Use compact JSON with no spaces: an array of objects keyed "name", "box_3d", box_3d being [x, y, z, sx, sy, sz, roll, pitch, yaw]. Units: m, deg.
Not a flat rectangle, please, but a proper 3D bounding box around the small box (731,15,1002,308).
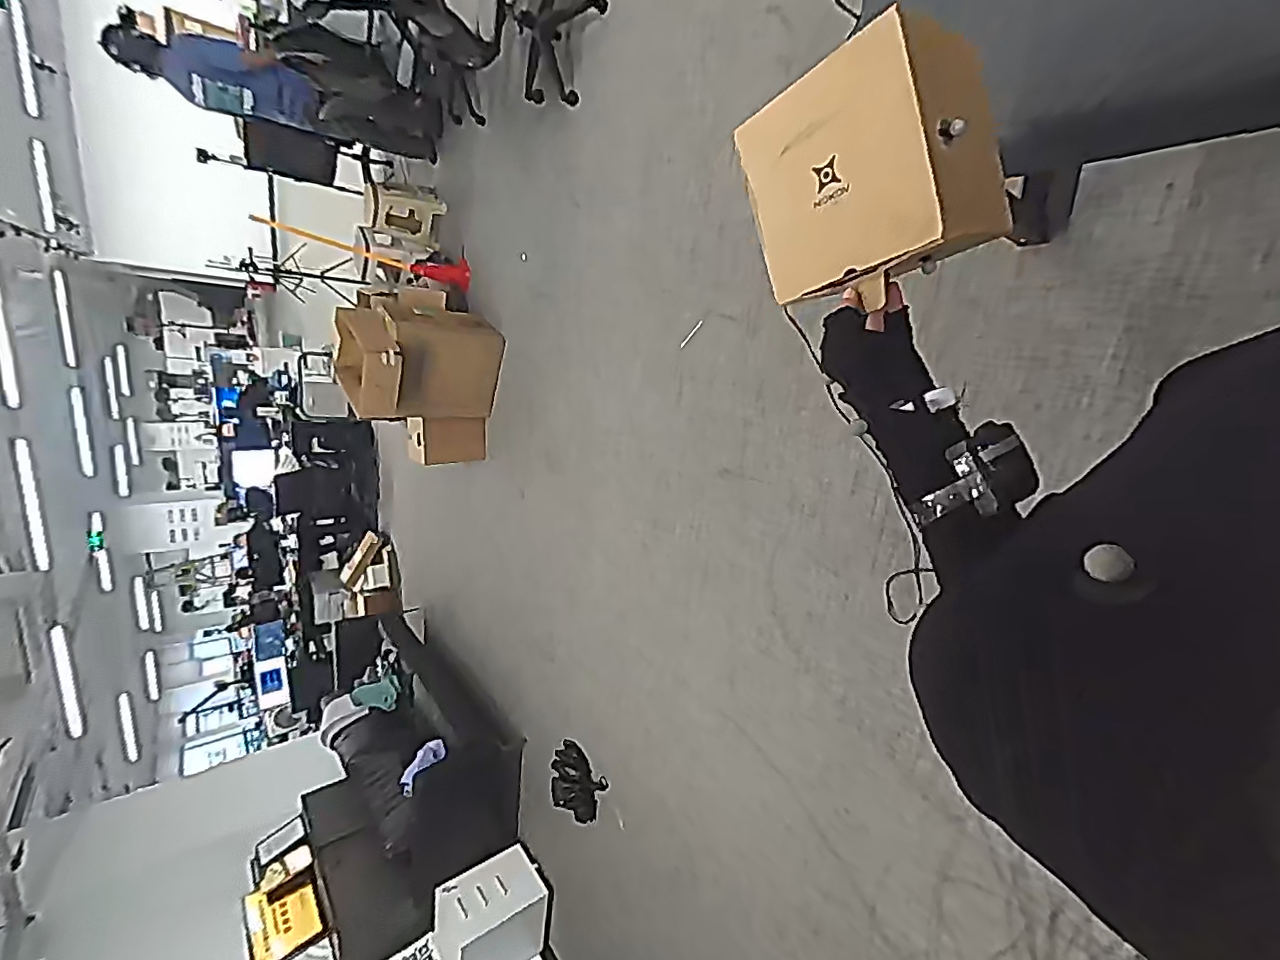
[{"name":"small box","box_3d":[0.222,-0.287,0.524,0.168,0.176,0.179,-8,101,51]}]
